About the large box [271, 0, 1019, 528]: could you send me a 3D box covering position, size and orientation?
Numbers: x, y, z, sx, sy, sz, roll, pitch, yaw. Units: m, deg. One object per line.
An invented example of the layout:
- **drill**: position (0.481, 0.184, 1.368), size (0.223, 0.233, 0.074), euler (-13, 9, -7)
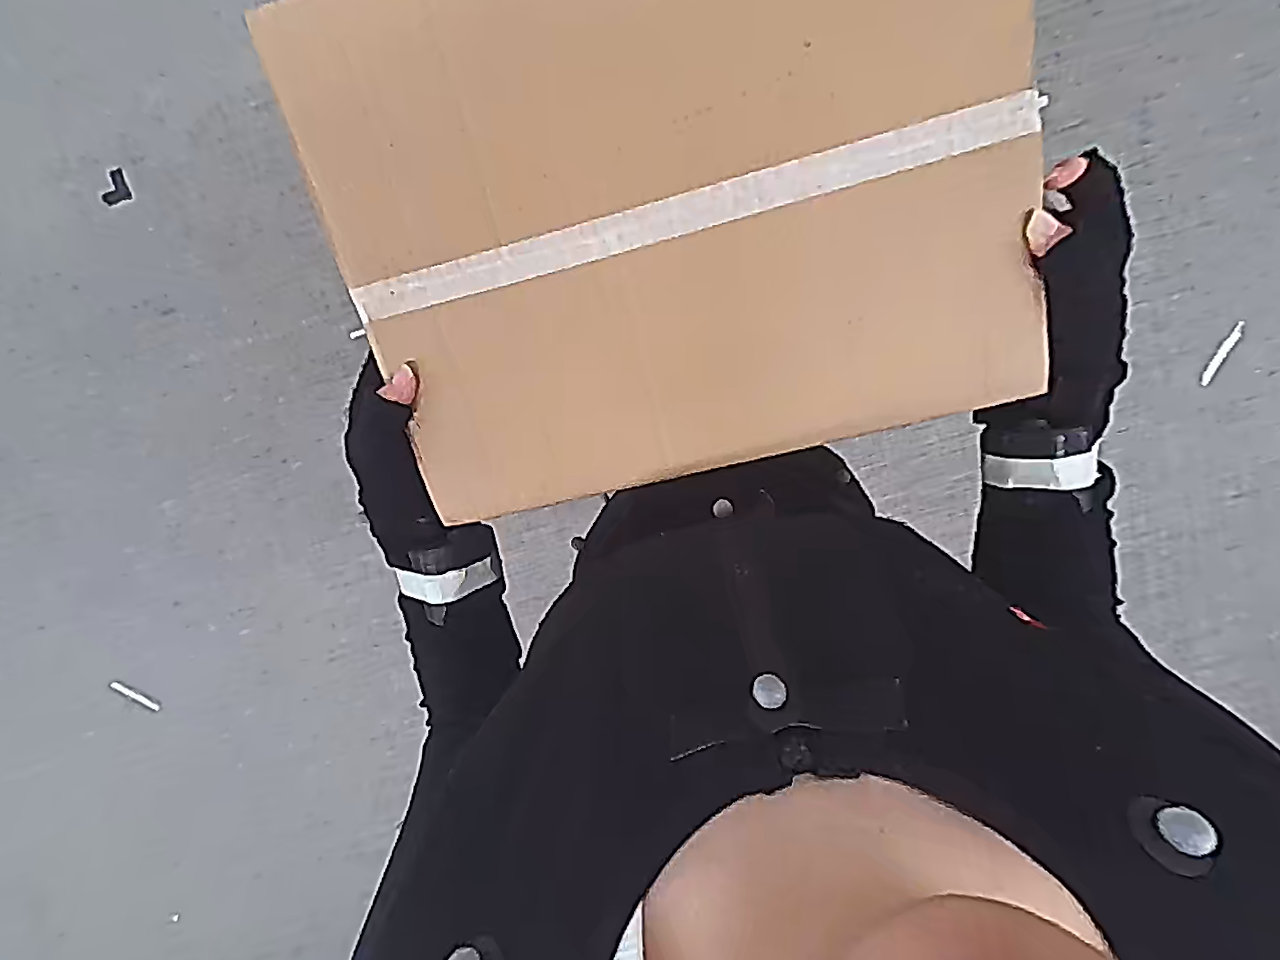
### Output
- **large box**: position (0.024, -0.197, 0.469), size (0.408, 0.320, 0.320), euler (-13, 106, 7)
